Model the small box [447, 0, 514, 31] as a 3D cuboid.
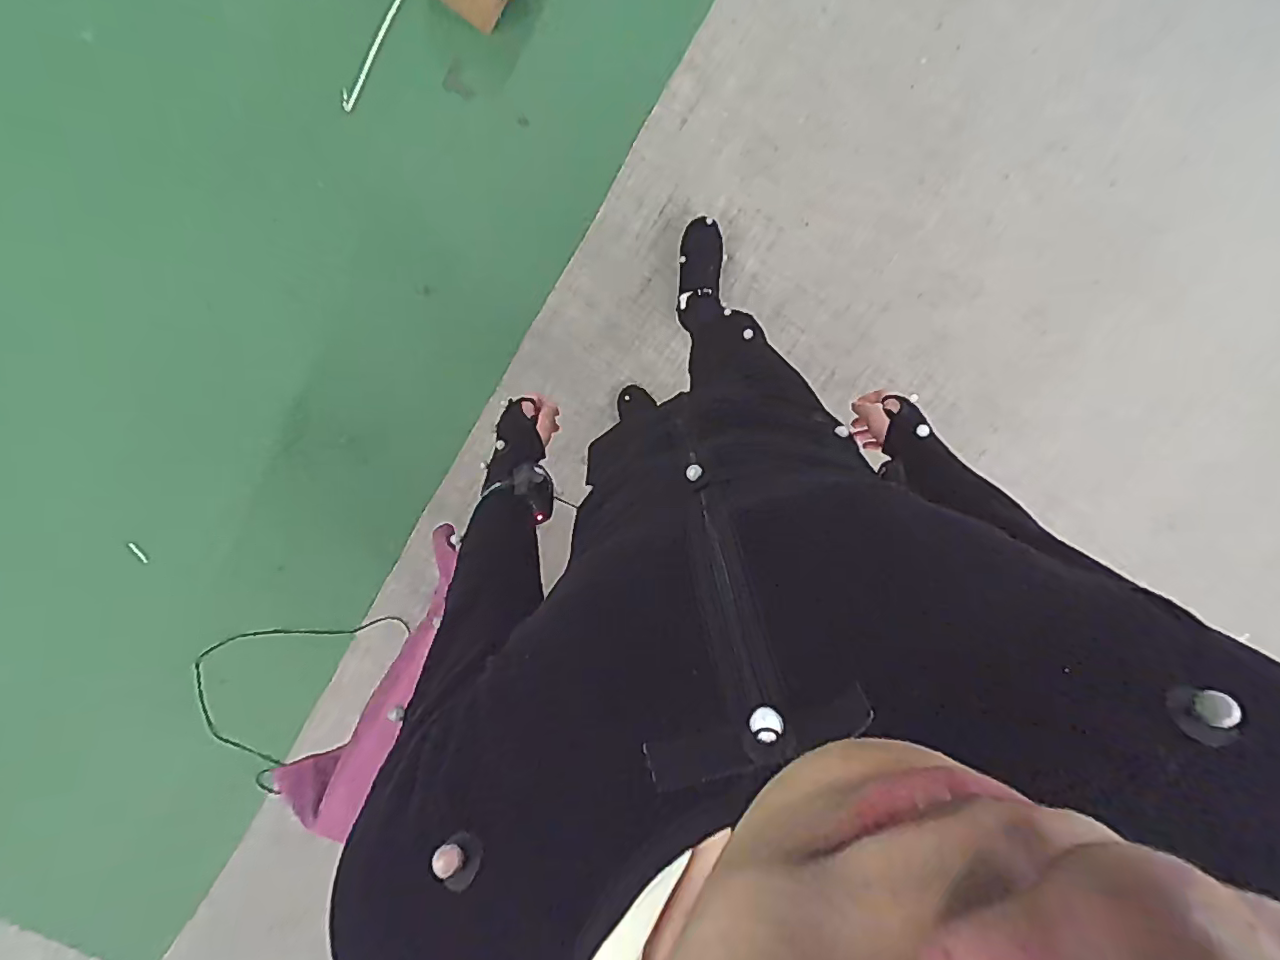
[{"bbox_3d":[-0.385,-1.182,1.224,0.179,0.176,0.168,34,102,-9],"label":"small box"}]
